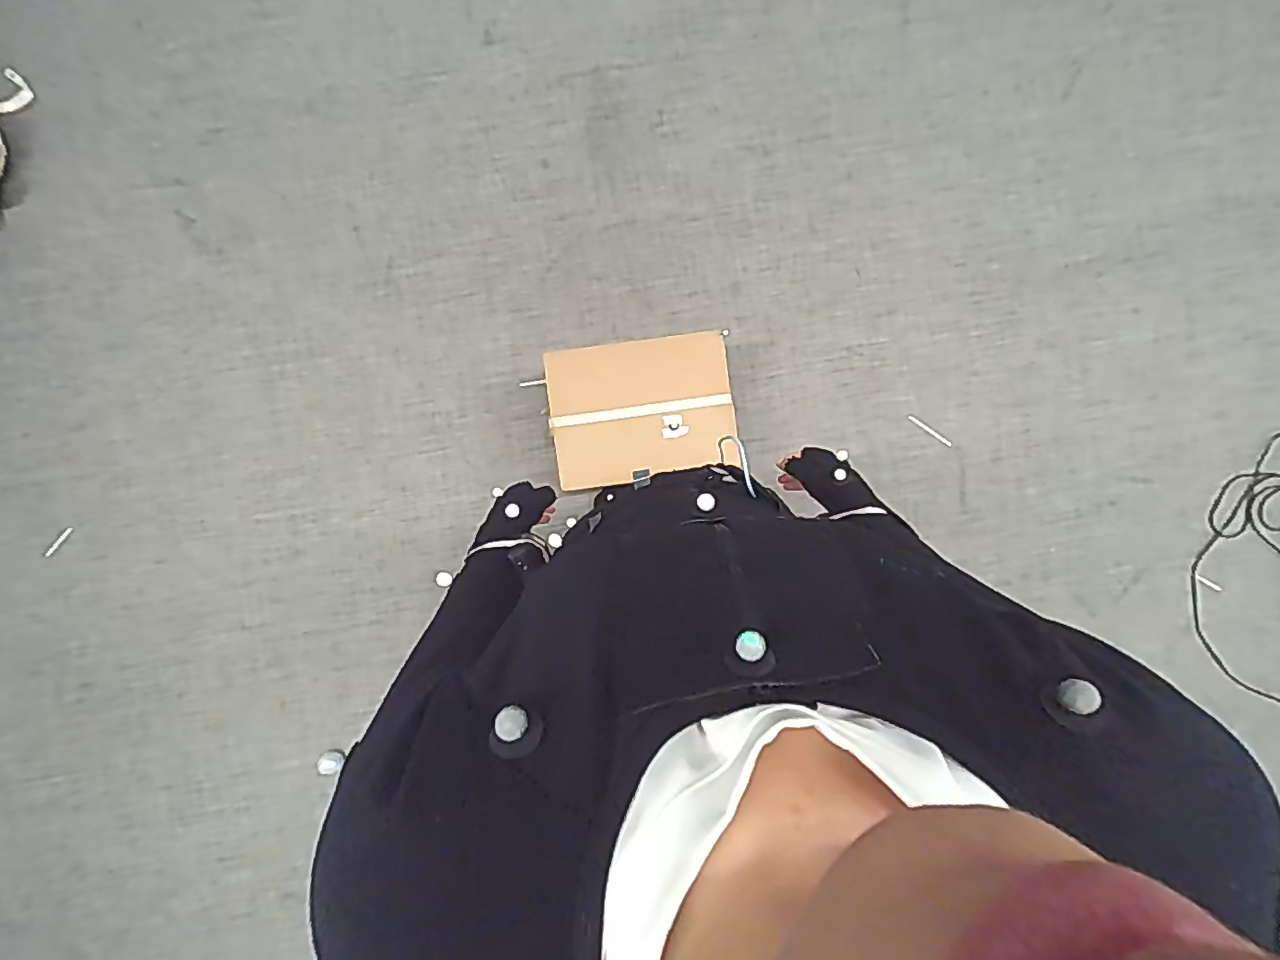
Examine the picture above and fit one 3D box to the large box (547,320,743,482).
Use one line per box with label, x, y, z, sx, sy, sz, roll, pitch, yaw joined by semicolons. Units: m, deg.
large box;0.008;-0.174;1.339;0.408;0.320;0.320;-8;91;0
